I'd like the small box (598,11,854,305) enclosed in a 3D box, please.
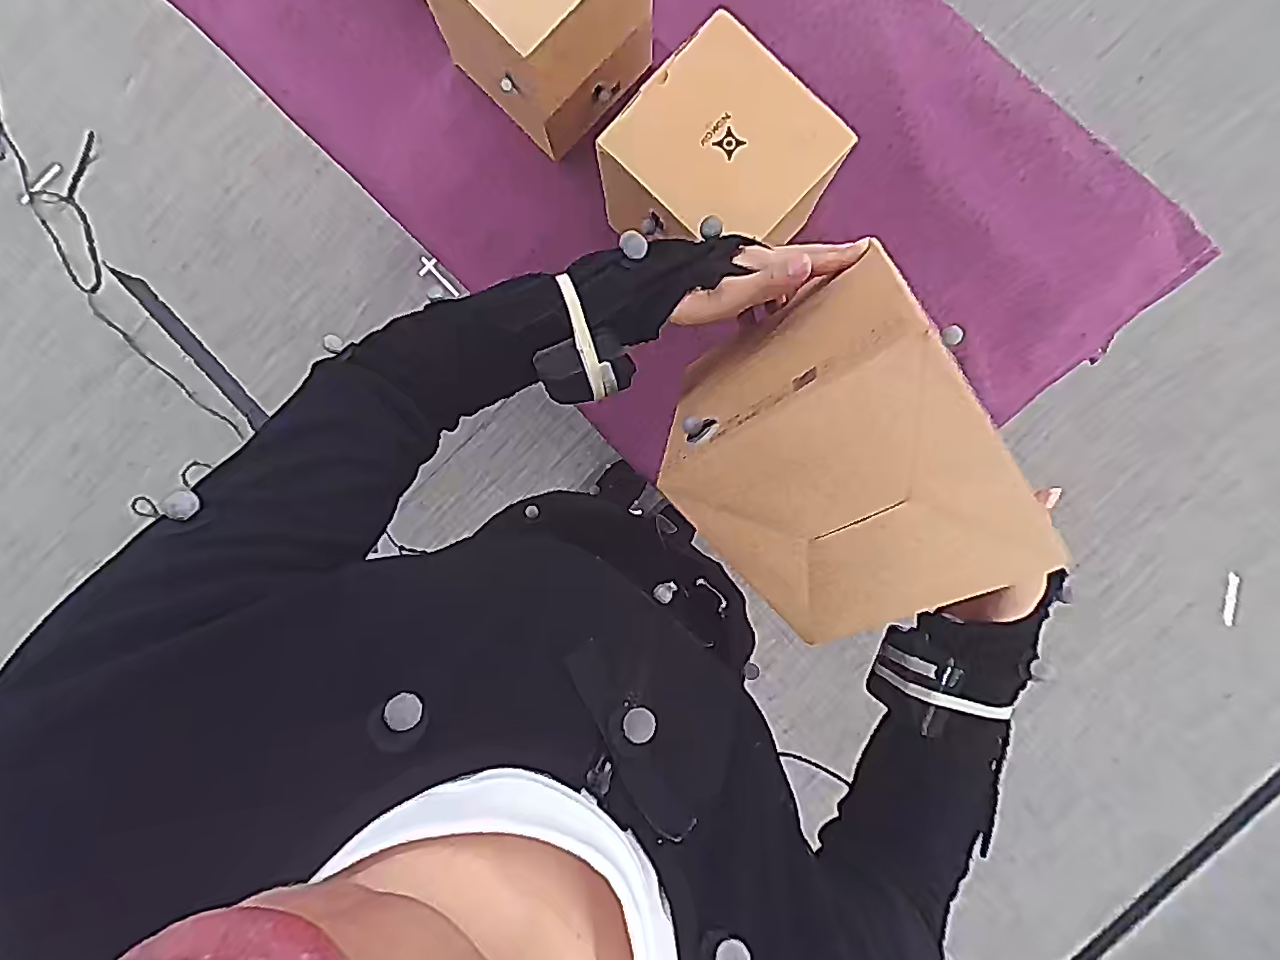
[{"bbox_3d":[0.081,-0.310,0.570,0.179,0.176,0.168,44,92,1],"label":"small box"}]
